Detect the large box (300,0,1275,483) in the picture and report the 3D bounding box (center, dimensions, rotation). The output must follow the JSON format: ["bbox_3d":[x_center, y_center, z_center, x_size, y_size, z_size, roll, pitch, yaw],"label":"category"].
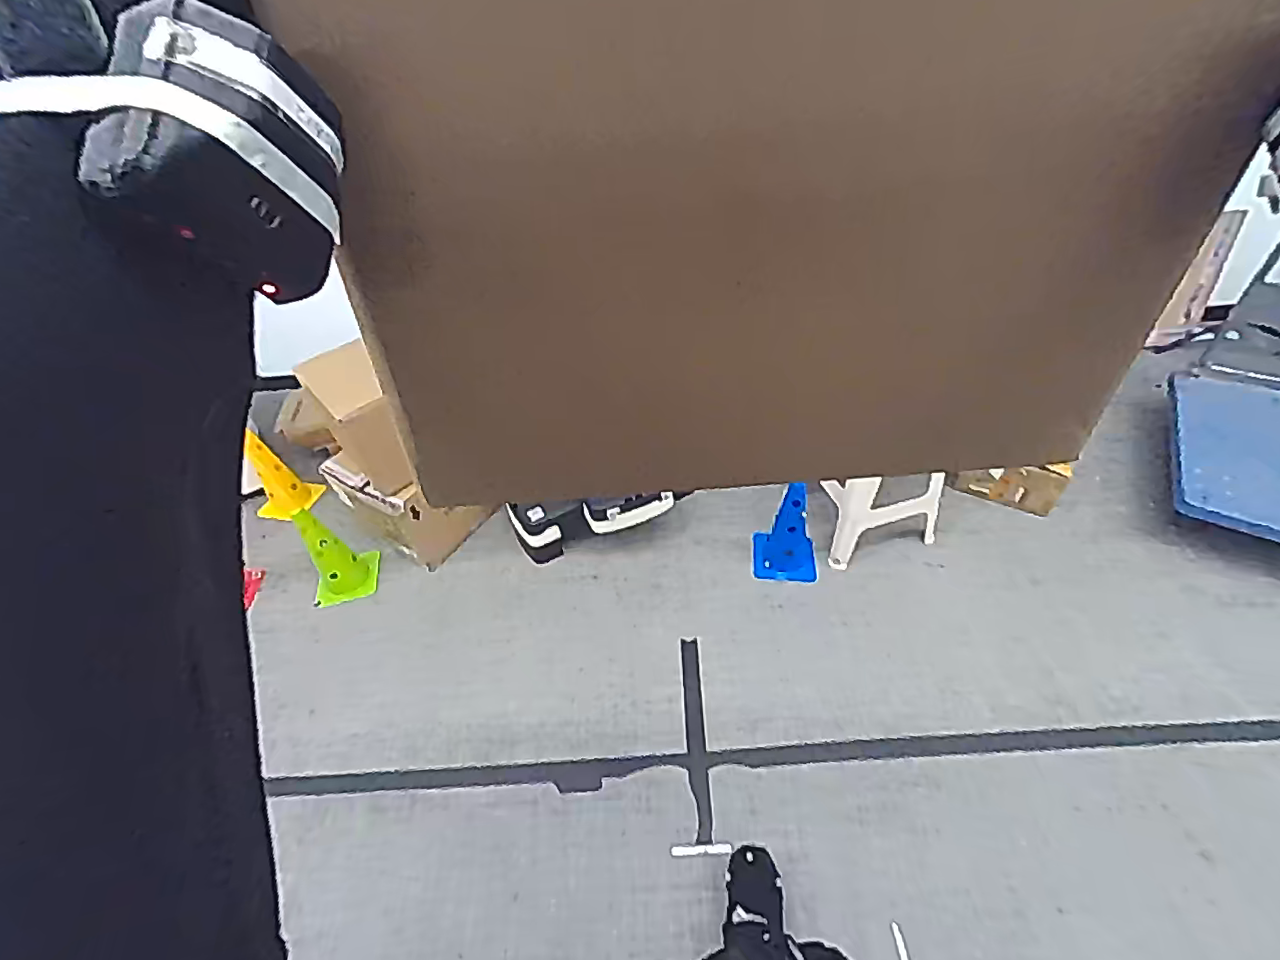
[{"bbox_3d":[0.055,-0.218,0.368,0.408,0.320,0.320,-4,38,-5],"label":"large box"}]
